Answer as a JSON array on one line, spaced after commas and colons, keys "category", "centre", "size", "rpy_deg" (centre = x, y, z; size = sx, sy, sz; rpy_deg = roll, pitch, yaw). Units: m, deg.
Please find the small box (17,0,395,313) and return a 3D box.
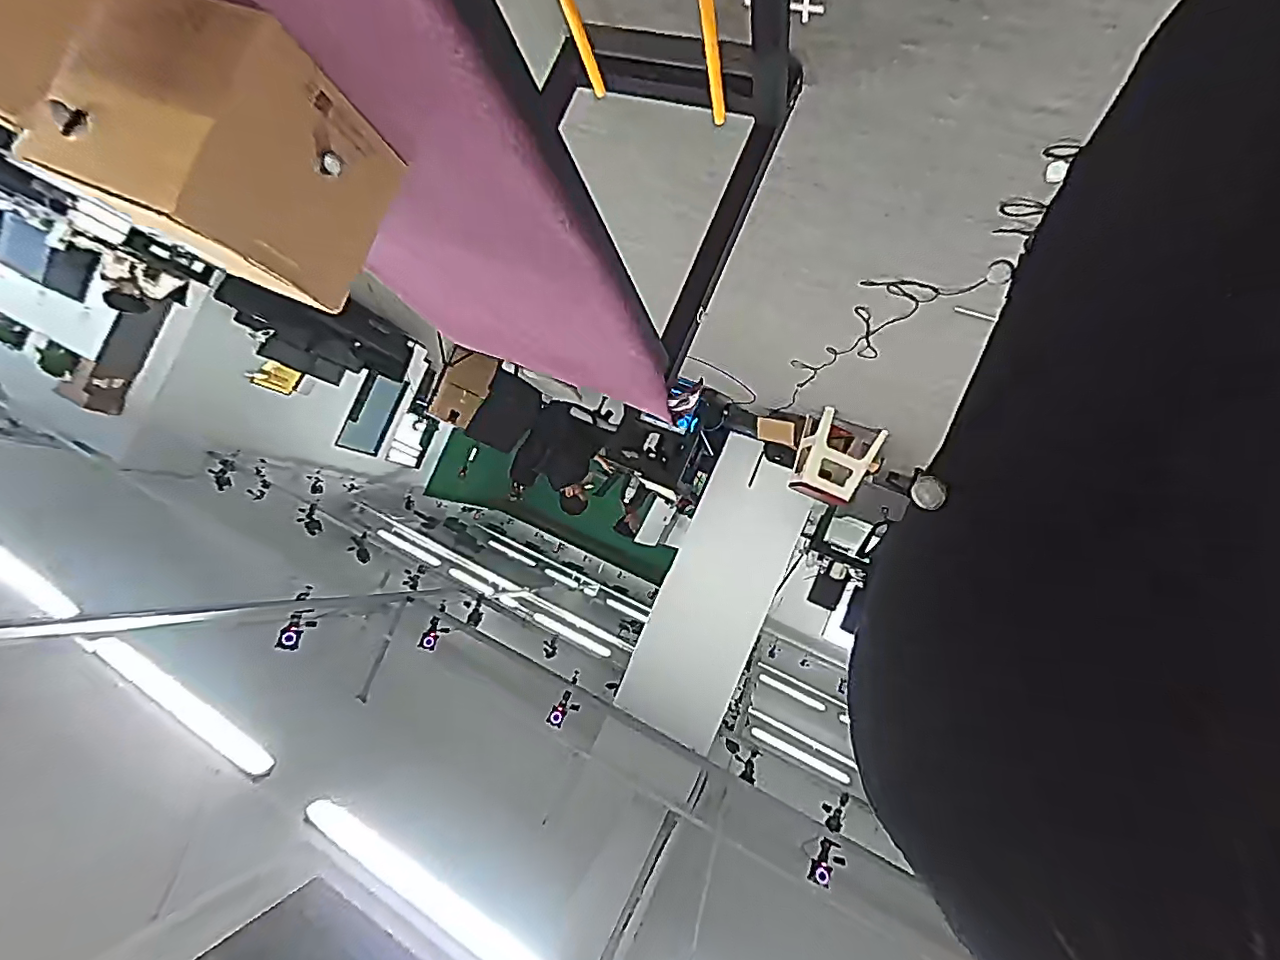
[{"category": "small box", "centre": [-0.361, -0.283, 0.481], "size": [0.179, 0.176, 0.168], "rpy_deg": [23, 178, 13]}]
